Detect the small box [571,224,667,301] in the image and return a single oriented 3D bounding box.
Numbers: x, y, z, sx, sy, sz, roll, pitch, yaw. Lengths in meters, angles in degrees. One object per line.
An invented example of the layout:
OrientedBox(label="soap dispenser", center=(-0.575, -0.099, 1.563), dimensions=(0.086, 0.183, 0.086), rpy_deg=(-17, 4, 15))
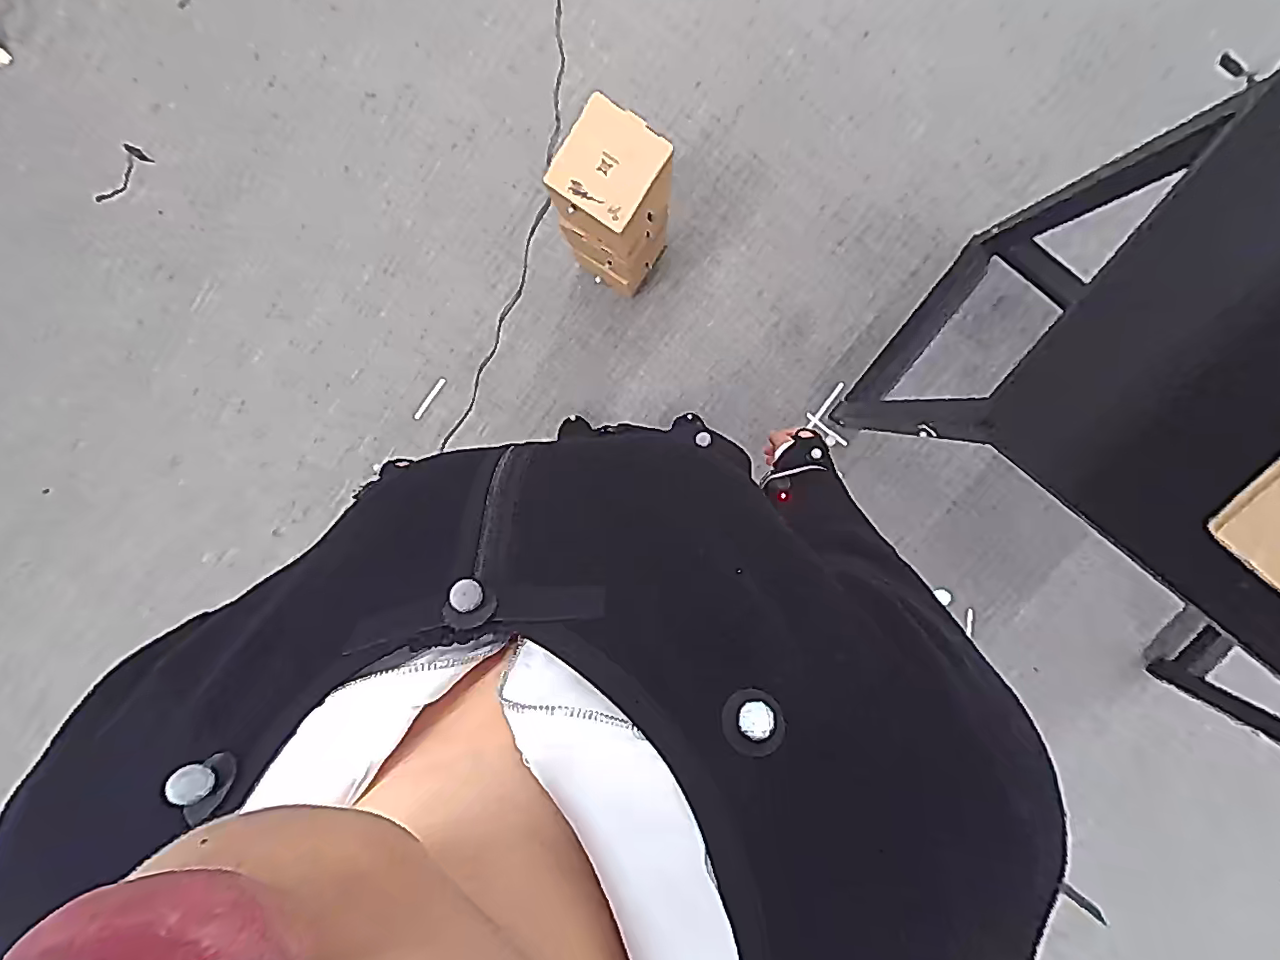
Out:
OrientedBox(label="small box", center=(-0.048, -0.574, 1.343), dimensions=(0.168, 0.176, 0.179), rpy_deg=(34, 98, -2))

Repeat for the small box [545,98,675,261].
OrientedBox(label="small box", center=(-0.052, -0.550, 1.017), dimensions=(0.168, 0.176, 0.179), rpy_deg=(34, 96, -2))

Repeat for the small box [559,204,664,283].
OrientedBox(label="small box", center=(-0.053, -0.561, 1.182), dimensions=(0.168, 0.176, 0.179), rpy_deg=(31, 96, -2))
